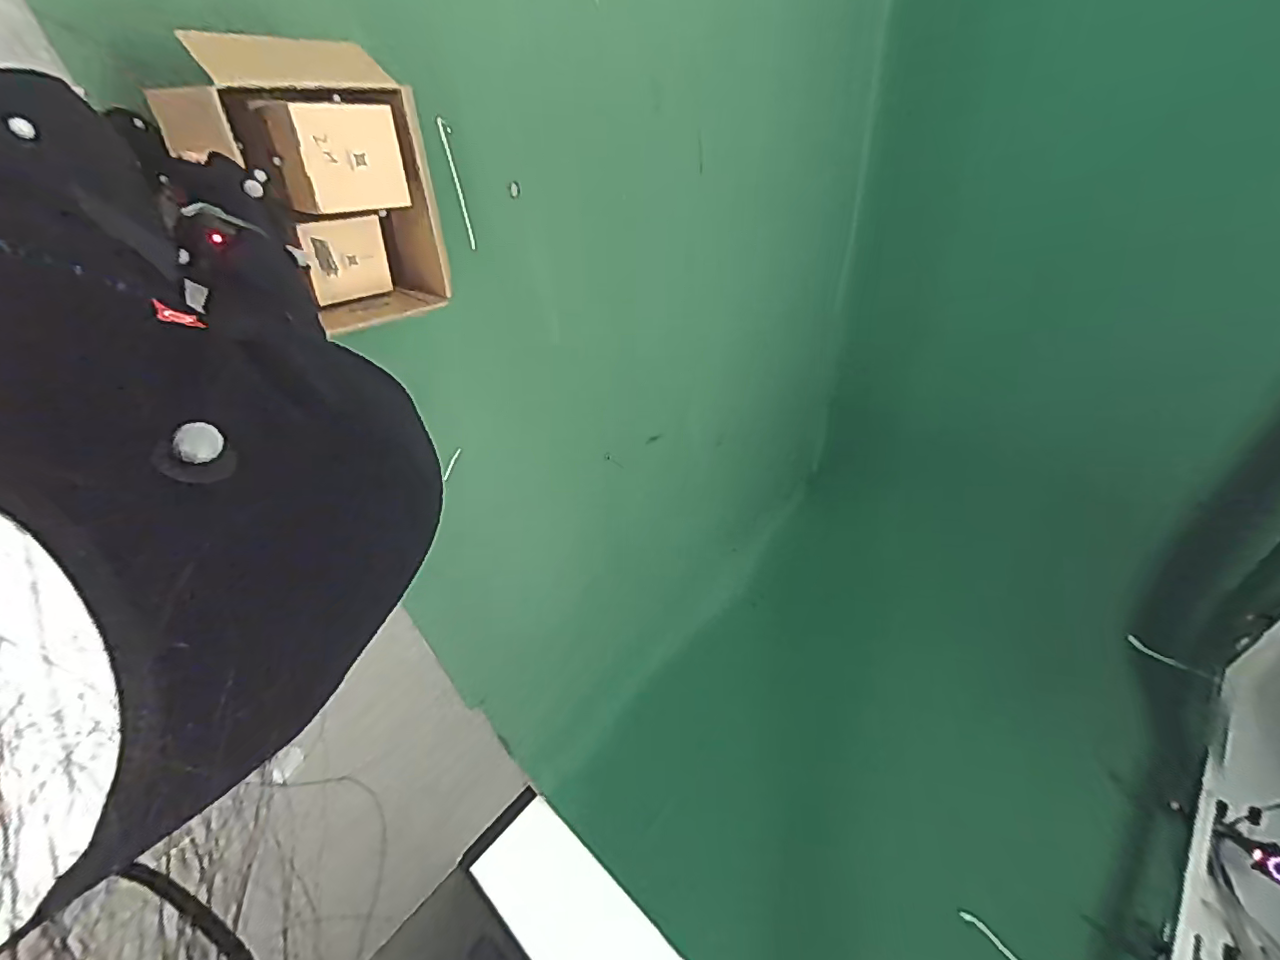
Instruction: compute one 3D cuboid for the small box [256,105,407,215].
[{"bbox_3d":[-0.577,-0.602,1.019,0.179,0.176,0.168,-30,132,-38],"label":"small box"}]
